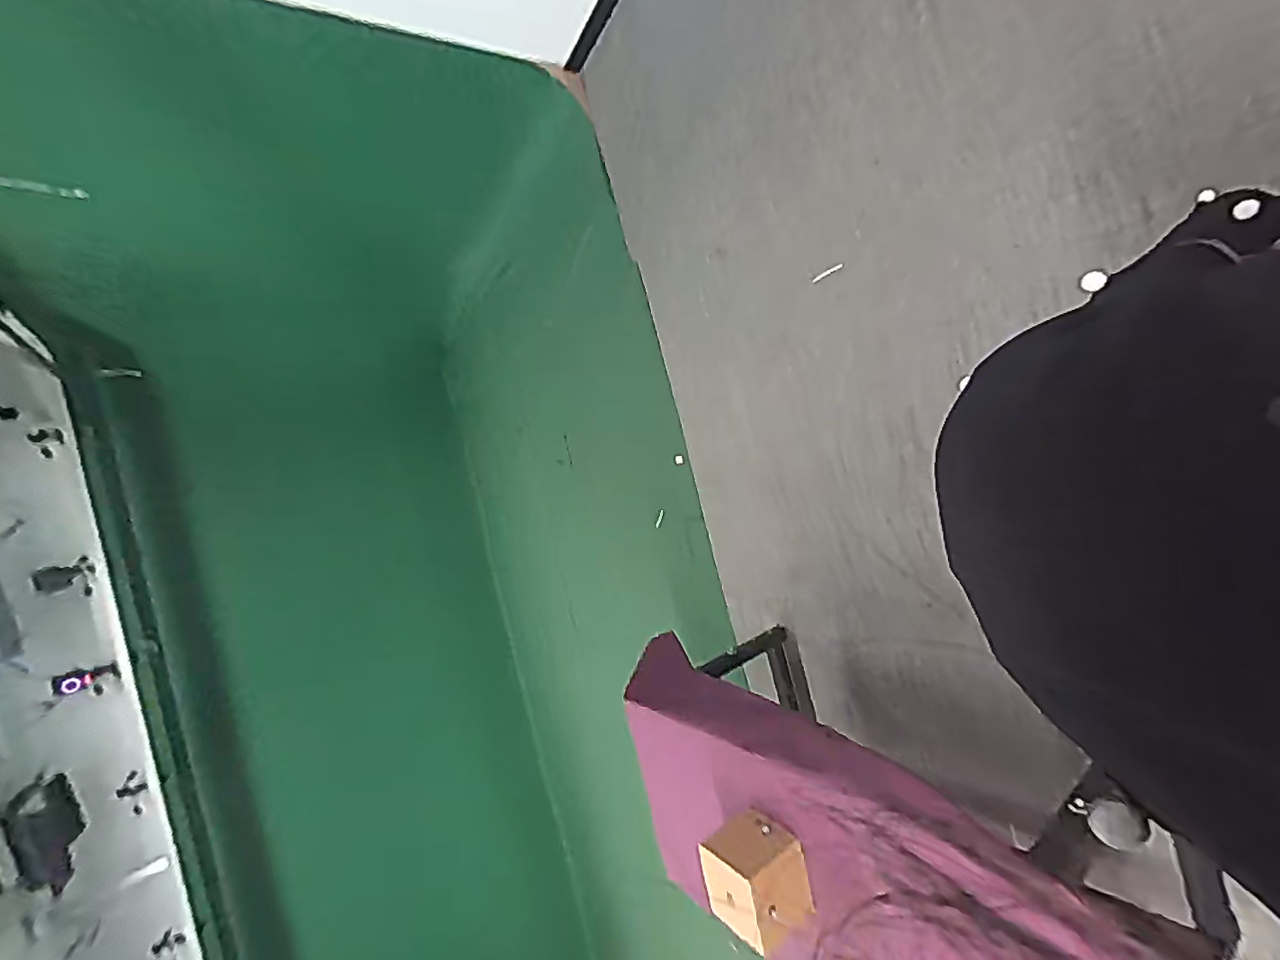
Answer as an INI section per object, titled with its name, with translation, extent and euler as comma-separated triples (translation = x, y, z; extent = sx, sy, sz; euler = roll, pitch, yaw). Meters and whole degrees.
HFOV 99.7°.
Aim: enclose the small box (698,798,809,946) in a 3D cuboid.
[small box]
translation = 0.261, 0.876, 1.227
extent = 0.168, 0.176, 0.179
euler = -5, 97, 55
